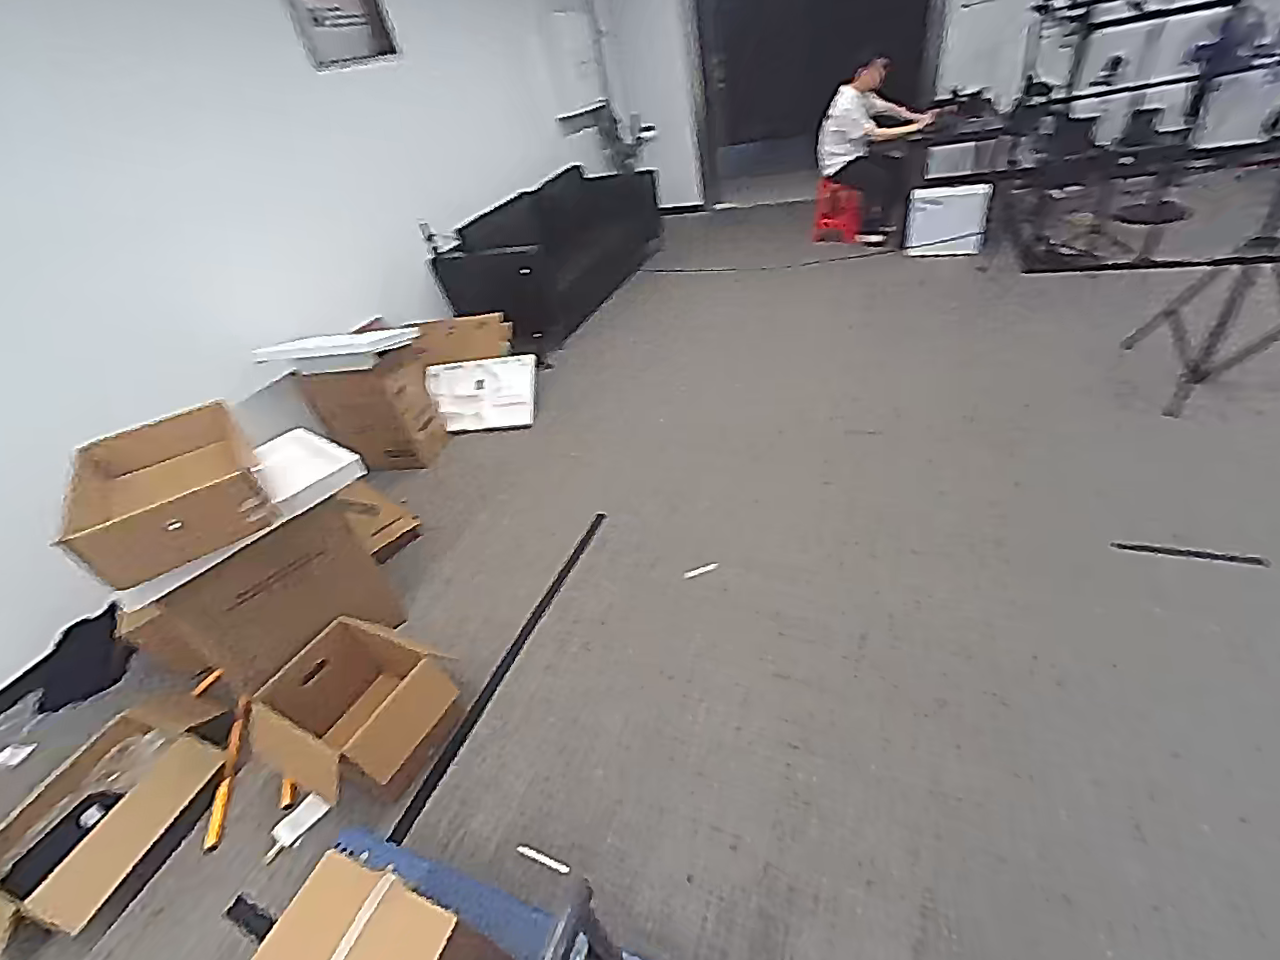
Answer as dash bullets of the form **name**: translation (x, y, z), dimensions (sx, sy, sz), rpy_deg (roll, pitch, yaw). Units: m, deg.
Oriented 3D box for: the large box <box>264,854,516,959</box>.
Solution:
- **large box**: translation (-0.473, 0.949, 0.910), dimensions (0.320, 0.320, 0.408), rpy_deg (5, 41, 24)
